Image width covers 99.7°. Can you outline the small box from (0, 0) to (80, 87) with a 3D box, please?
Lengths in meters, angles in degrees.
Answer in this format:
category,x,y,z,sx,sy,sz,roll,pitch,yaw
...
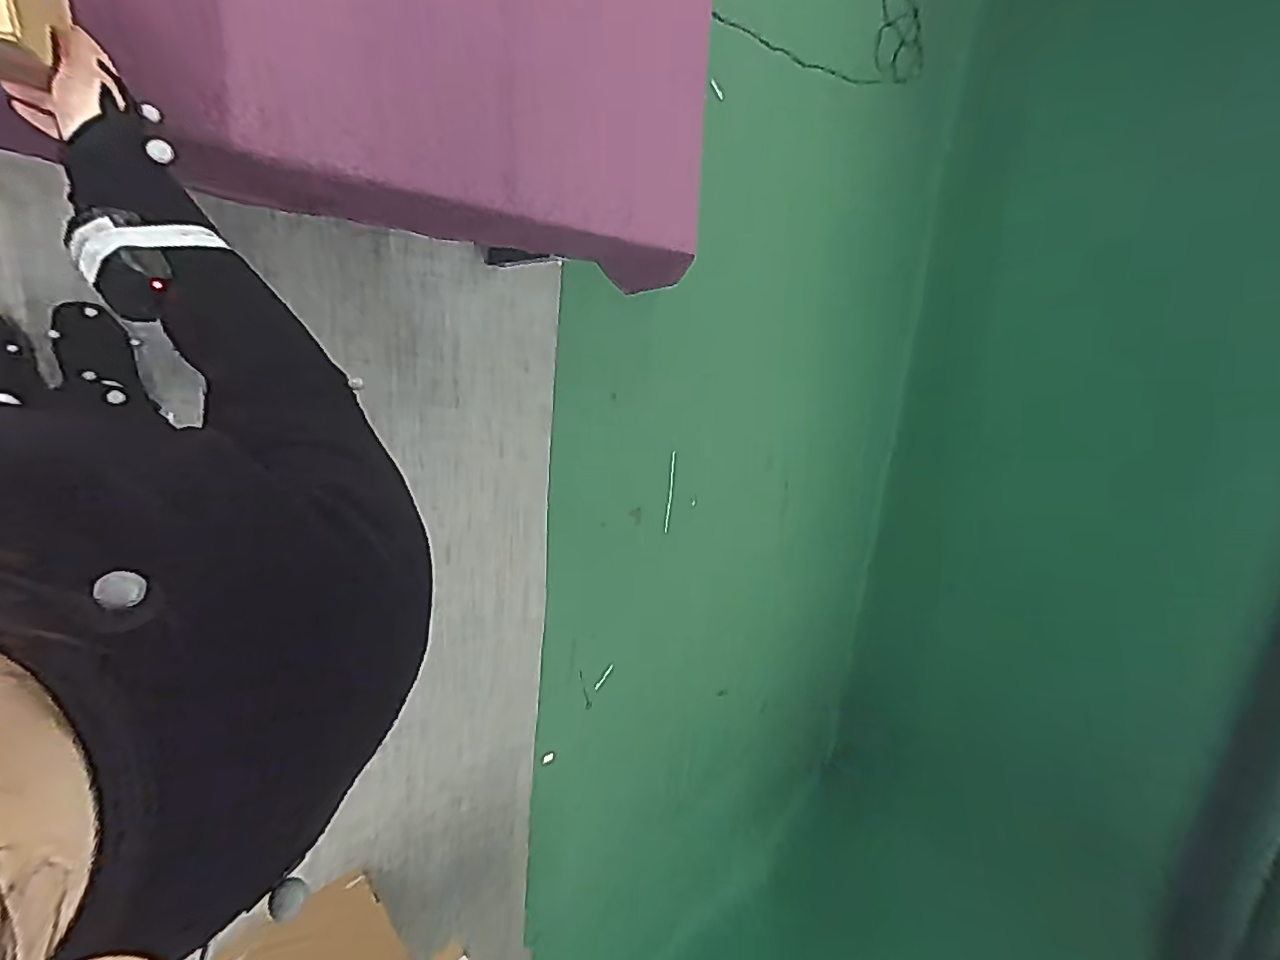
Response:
category,x,y,z,sx,sy,sz,roll,pitch,yaw
small box,-0.482,-0.361,0.315,0.179,0.176,0.168,-8,114,-35
